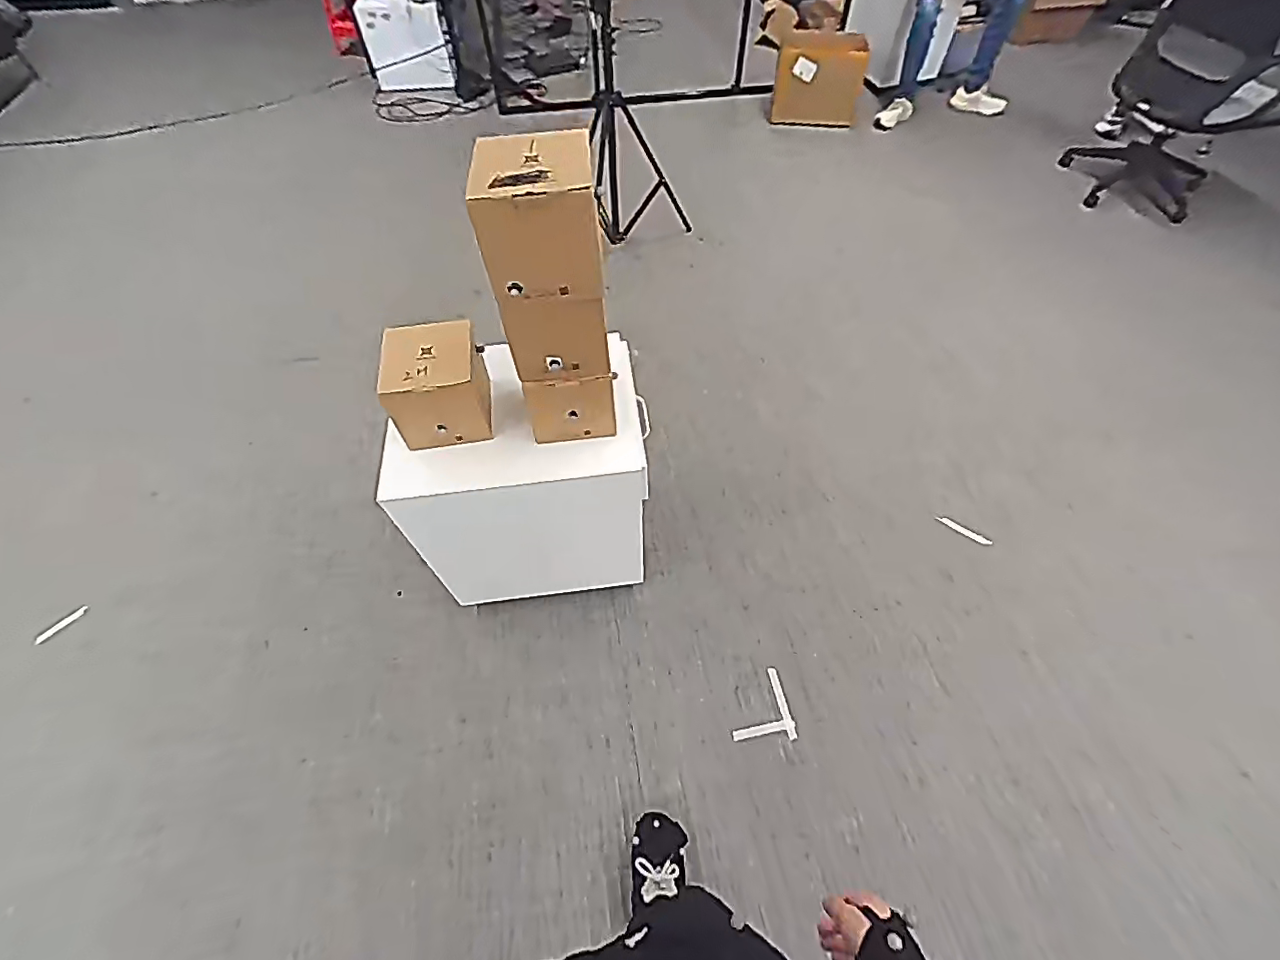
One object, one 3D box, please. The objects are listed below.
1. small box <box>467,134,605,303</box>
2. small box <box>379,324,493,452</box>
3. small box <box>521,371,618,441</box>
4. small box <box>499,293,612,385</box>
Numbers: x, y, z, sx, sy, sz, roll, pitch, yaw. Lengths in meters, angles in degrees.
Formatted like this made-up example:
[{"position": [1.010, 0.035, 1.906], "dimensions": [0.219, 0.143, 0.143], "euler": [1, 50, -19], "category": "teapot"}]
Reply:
[{"position": [-0.144, -0.380, 0.805], "dimensions": [0.168, 0.176, 0.179], "euler": [-6, 54, -1], "category": "small box"}, {"position": [-0.392, -0.179, 1.067], "dimensions": [0.168, 0.176, 0.179], "euler": [-9, 57, -5], "category": "small box"}, {"position": [-0.137, -0.191, 1.073], "dimensions": [0.168, 0.176, 0.179], "euler": [-7, 57, -2], "category": "small box"}, {"position": [-0.142, -0.290, 0.943], "dimensions": [0.168, 0.176, 0.179], "euler": [-7, 57, -2], "category": "small box"}]
